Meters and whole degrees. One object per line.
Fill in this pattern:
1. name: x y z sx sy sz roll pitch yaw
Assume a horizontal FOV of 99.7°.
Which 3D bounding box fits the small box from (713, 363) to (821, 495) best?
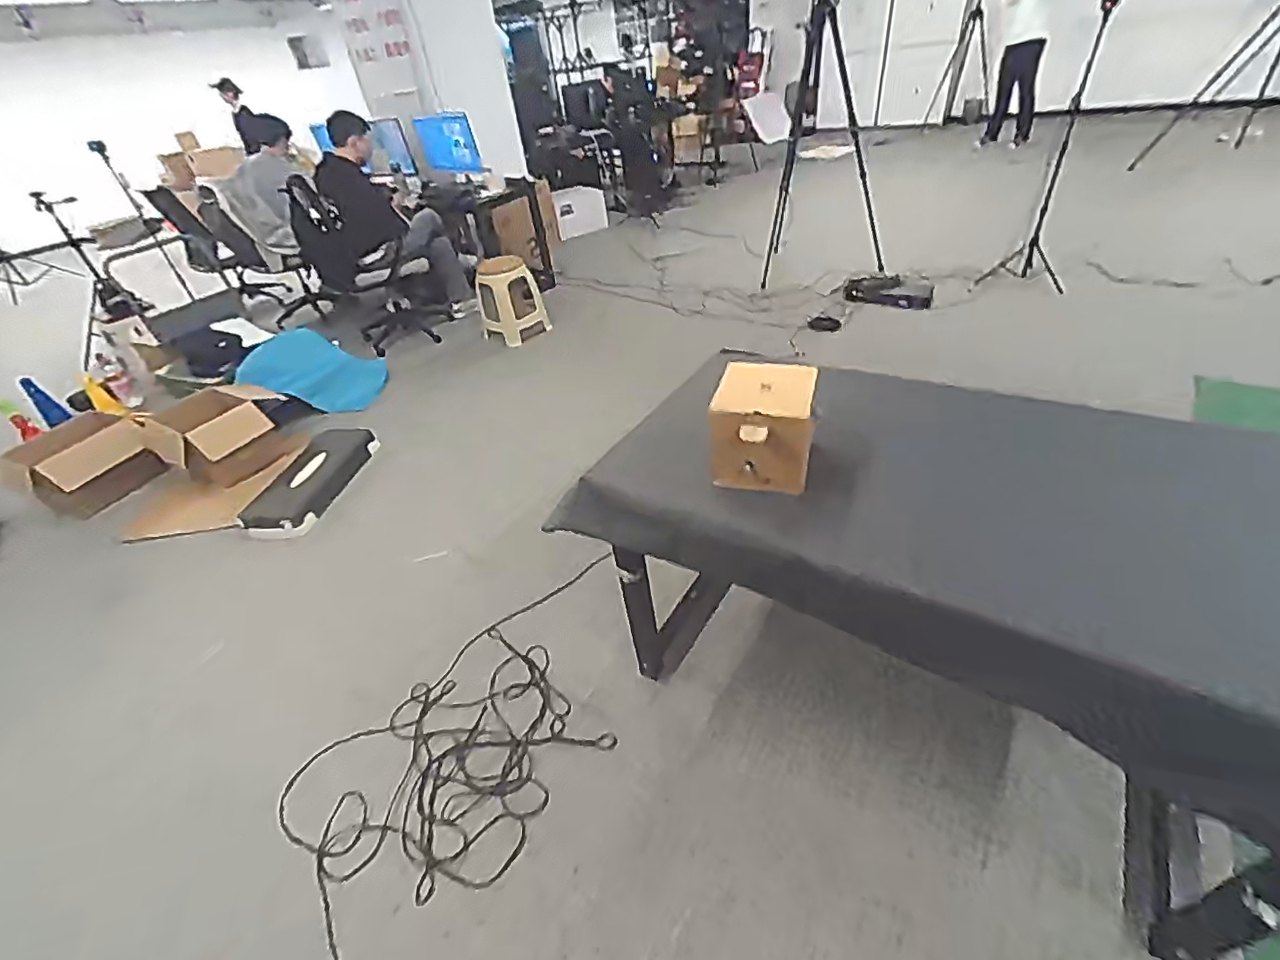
1. small box: 0.233 -0.098 1.000 0.168 0.176 0.179 8 41 19
